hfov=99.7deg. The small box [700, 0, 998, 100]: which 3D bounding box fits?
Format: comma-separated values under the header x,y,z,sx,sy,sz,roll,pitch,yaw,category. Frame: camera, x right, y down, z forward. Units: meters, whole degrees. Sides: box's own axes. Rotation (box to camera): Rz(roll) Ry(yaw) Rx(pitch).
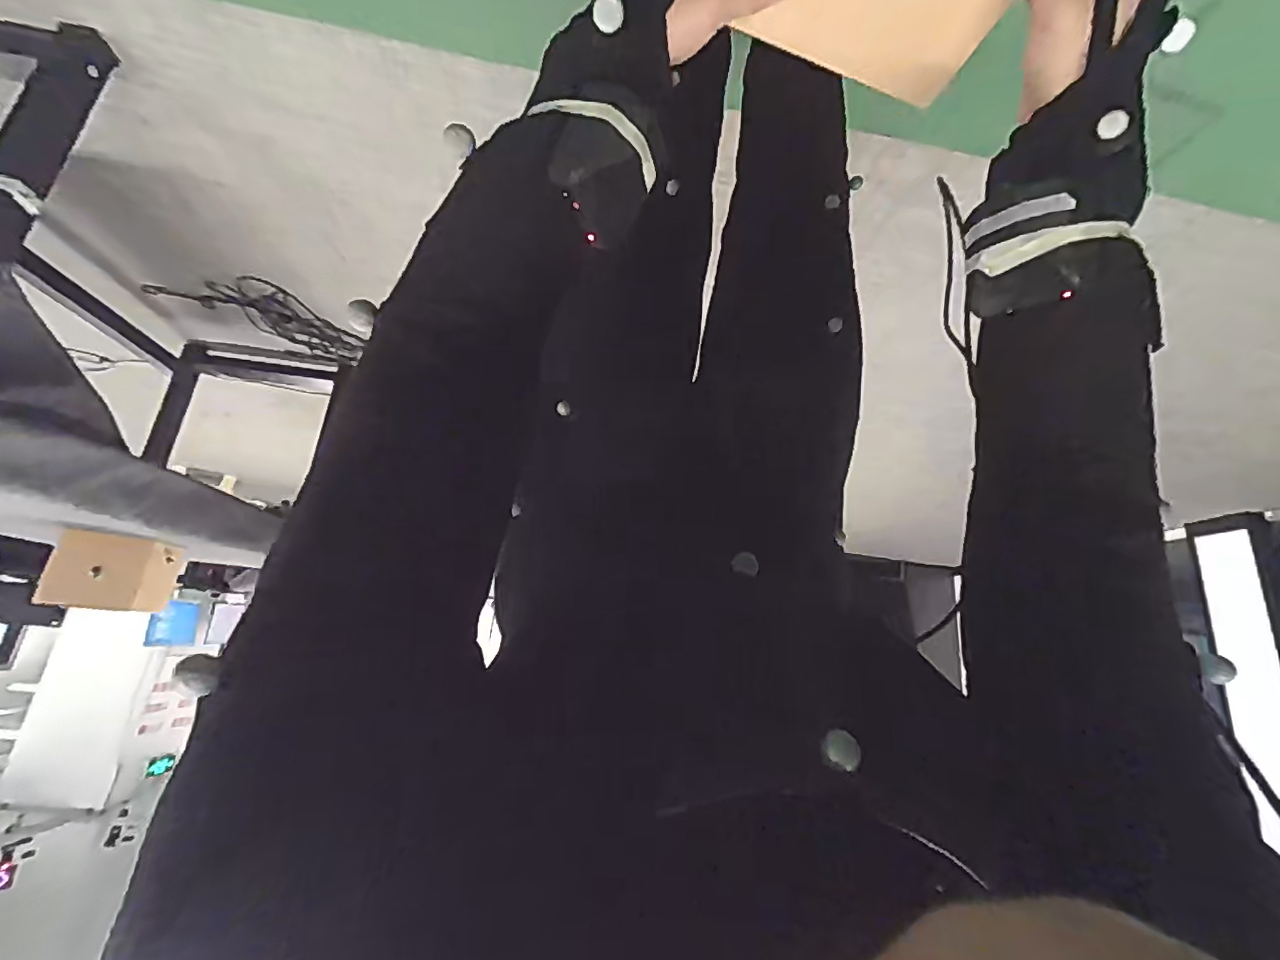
x,y,z,sx,sy,sz,roll,pitch,yaw,category
0.148,-0.374,0.297,0.168,0.176,0.179,14,159,-11,small box
